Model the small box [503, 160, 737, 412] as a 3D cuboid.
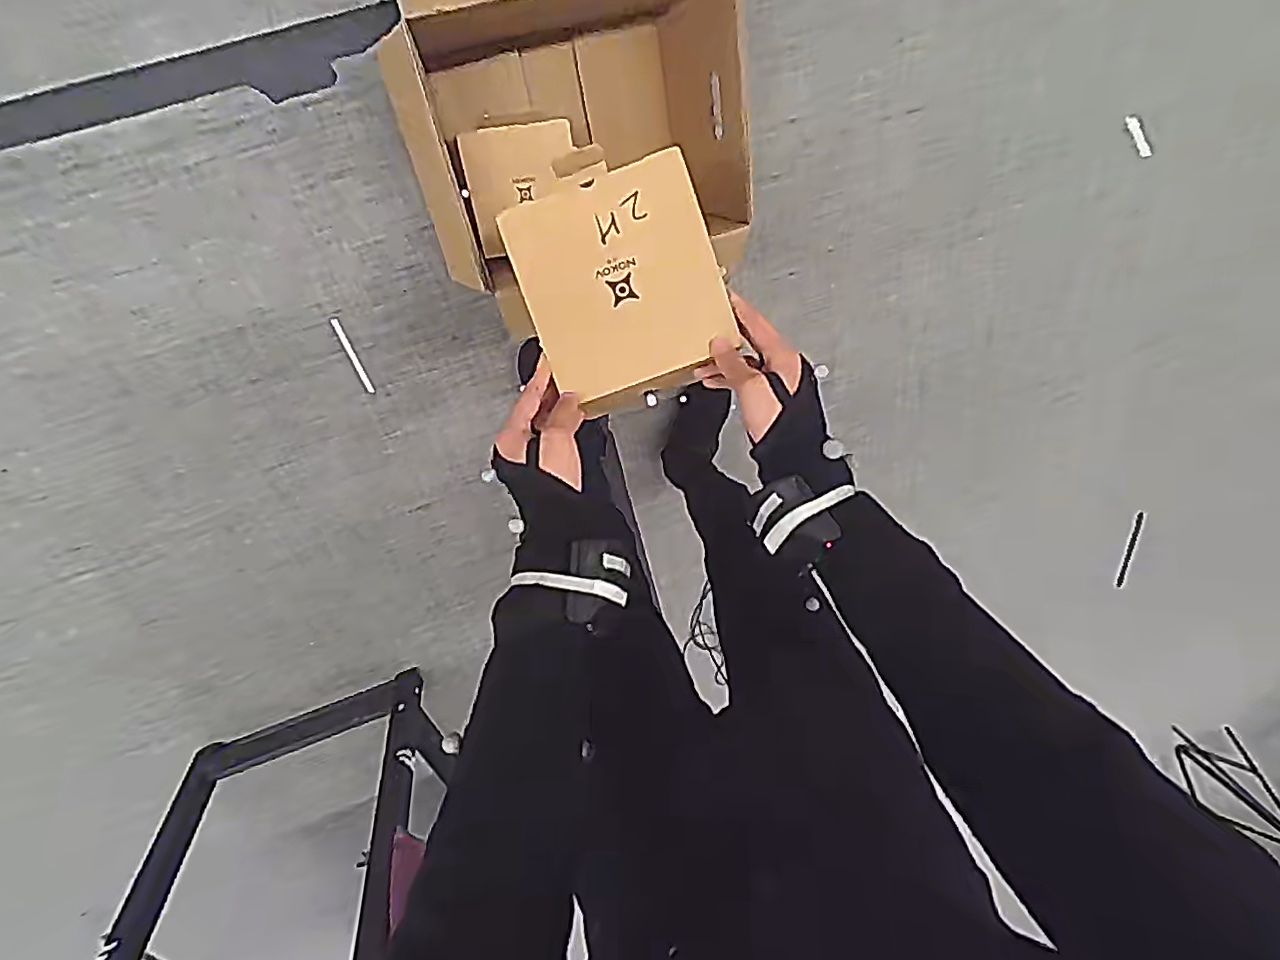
[{"bbox_3d":[-0.015,-0.174,0.548,0.168,0.176,0.179,-19,92,1],"label":"small box"}]
